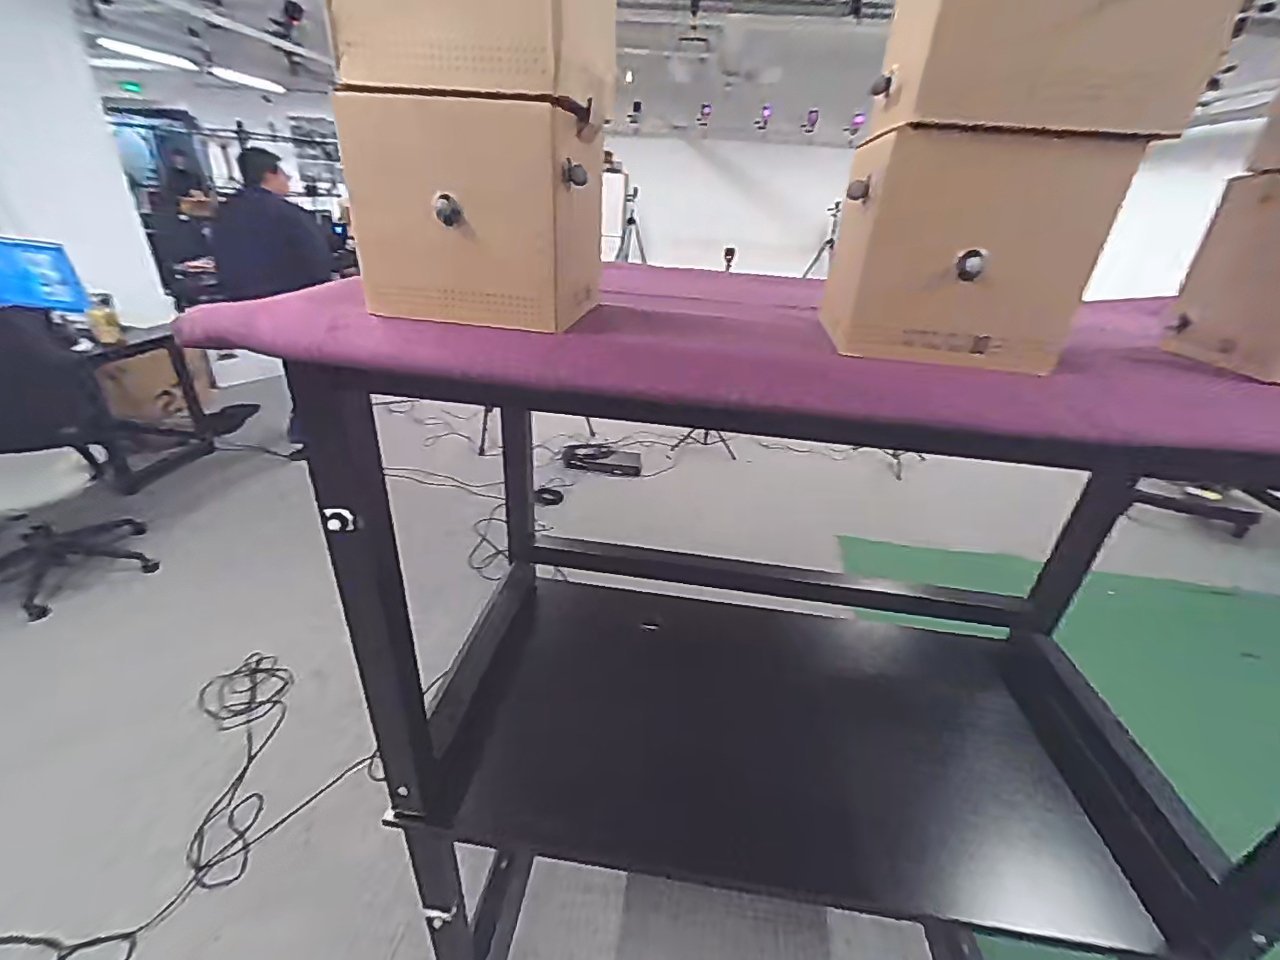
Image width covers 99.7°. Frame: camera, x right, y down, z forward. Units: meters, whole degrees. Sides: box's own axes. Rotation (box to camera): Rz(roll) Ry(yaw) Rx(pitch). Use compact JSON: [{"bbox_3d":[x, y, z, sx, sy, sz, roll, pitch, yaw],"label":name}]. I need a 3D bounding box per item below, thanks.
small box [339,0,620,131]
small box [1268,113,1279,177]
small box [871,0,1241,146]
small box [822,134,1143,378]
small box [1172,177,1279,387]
[{"bbox_3d":[-0.116,-0.382,0.419,0.179,0.176,0.168,7,29,7],"label":"small box"},{"bbox_3d":[0.638,-0.310,0.391,0.179,0.176,0.168,7,27,7],"label":"small box"},{"bbox_3d":[0.291,-0.336,0.397,0.179,0.176,0.168,7,27,7],"label":"small box"},{"bbox_3d":[0.272,-0.200,0.485,0.168,0.176,0.179,9,28,7],"label":"small box"},{"bbox_3d":[0.634,-0.171,0.476,0.179,0.176,0.168,9,27,11],"label":"small box"}]
